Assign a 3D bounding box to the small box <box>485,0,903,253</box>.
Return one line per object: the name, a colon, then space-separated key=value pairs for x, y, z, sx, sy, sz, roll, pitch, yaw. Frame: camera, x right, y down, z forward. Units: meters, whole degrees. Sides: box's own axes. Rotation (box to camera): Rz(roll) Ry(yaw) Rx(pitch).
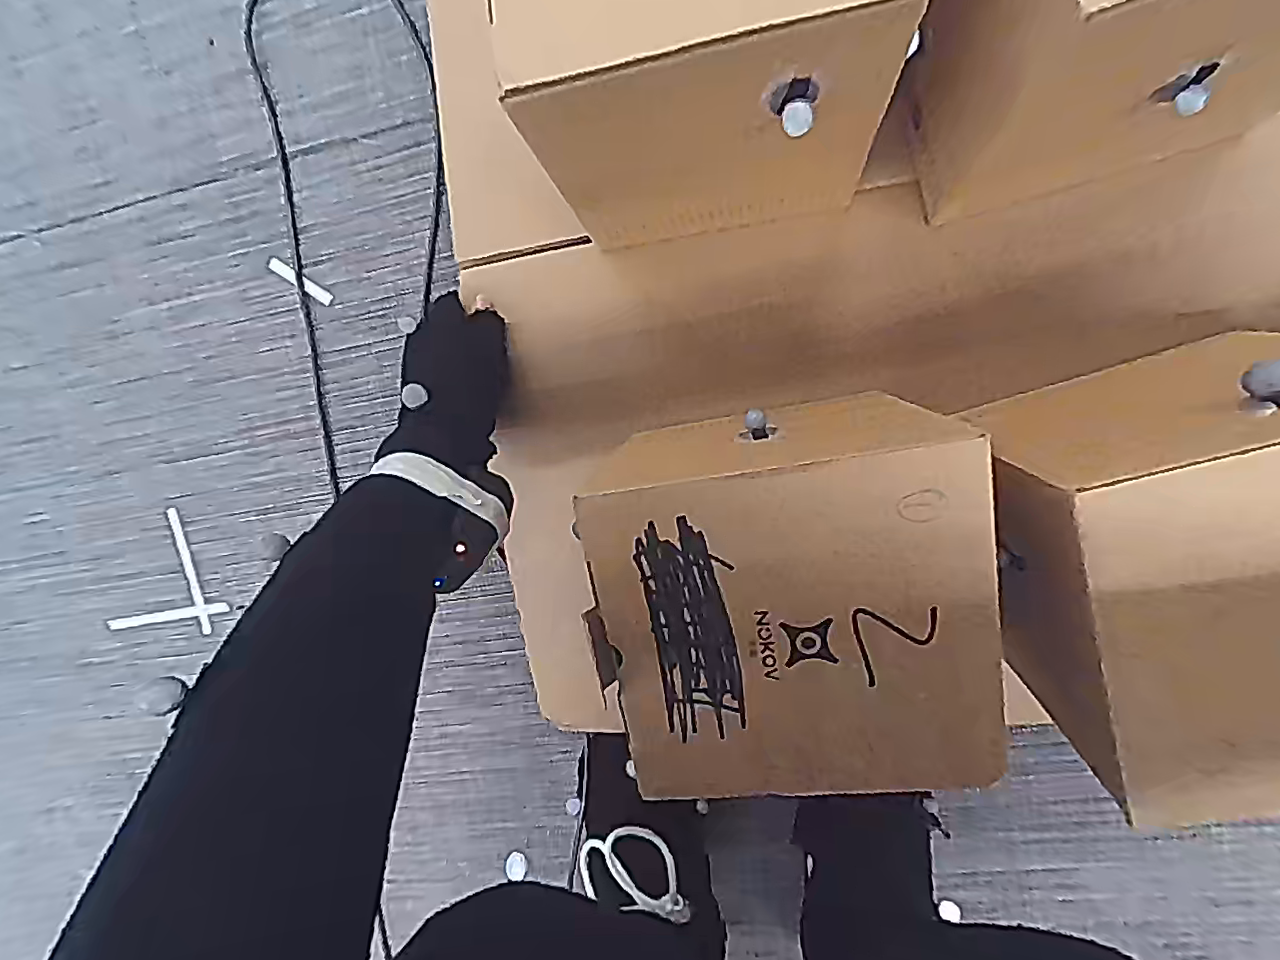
small box: x=0.028 y=-0.250 z=0.305 sx=0.179 sy=0.176 sz=0.168 roll=-5 pitch=90 yaw=12
